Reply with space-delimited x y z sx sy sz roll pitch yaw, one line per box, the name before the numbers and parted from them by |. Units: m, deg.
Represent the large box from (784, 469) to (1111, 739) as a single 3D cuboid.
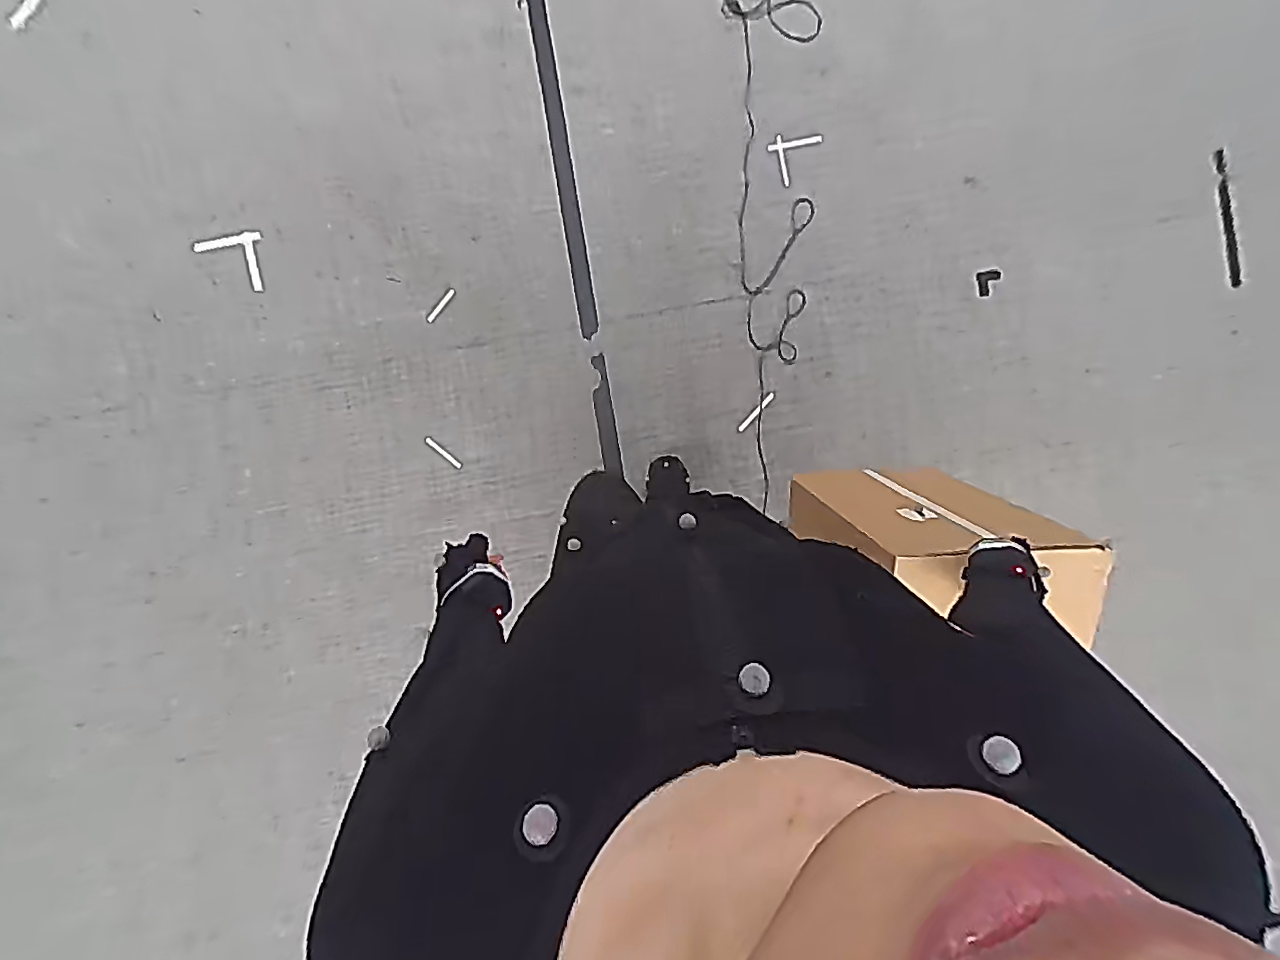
large box | 0.483 0.184 0.965 0.320 0.408 0.320 -2 107 -4
